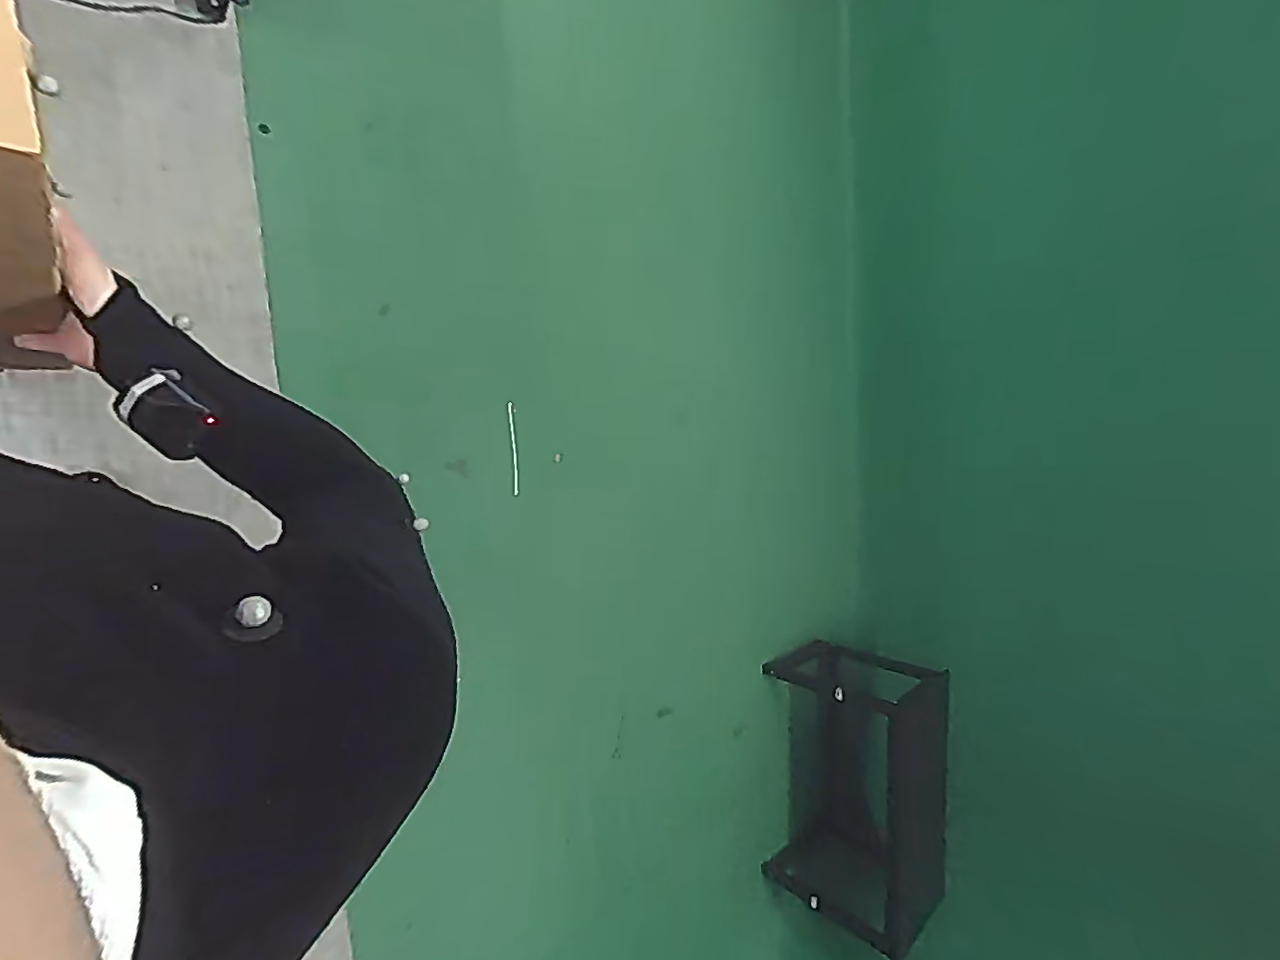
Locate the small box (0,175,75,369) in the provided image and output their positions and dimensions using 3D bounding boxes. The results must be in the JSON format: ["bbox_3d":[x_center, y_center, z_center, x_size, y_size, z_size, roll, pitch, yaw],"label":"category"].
[{"bbox_3d":[-0.673,-0.217,0.519,0.168,0.176,0.179,-8,90,-44],"label":"small box"}]

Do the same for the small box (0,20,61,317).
[{"bbox_3d":[-0.559,-0.236,0.400,0.168,0.176,0.179,-5,88,-45],"label":"small box"}]
